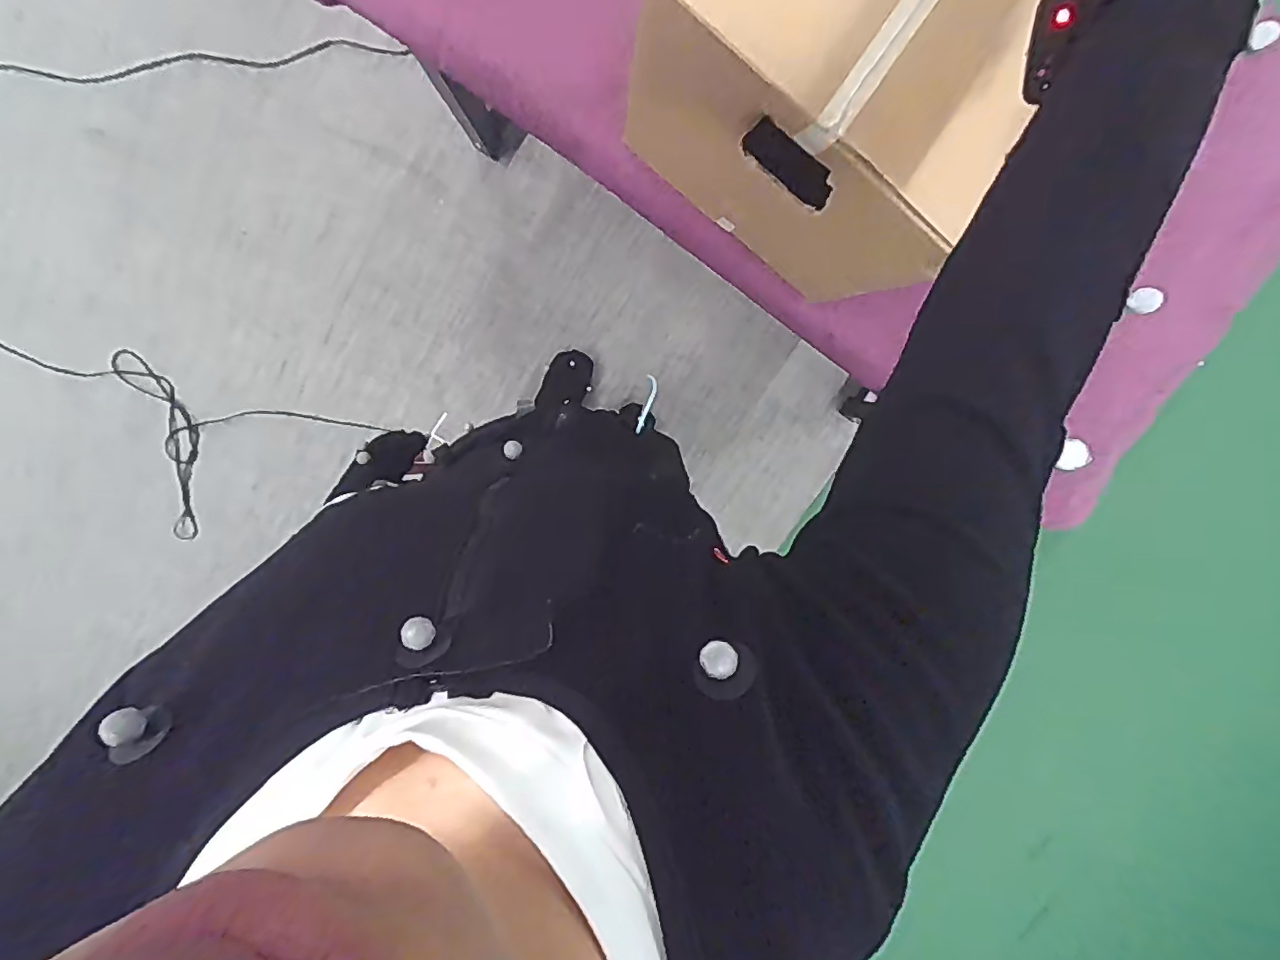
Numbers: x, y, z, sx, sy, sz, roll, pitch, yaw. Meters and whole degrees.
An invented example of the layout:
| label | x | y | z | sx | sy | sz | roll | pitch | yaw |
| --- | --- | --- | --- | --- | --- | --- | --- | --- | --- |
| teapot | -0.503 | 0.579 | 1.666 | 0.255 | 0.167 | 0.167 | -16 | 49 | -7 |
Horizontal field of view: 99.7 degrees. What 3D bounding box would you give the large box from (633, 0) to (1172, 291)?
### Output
| label | x | y | z | sx | sy | sz | roll | pitch | yaw |
| --- | --- | --- | --- | --- | --- | --- | --- | --- | --- |
| large box | 0.236 | -0.448 | 0.512 | 0.320 | 0.320 | 0.408 | 35 | 100 | -12 |
